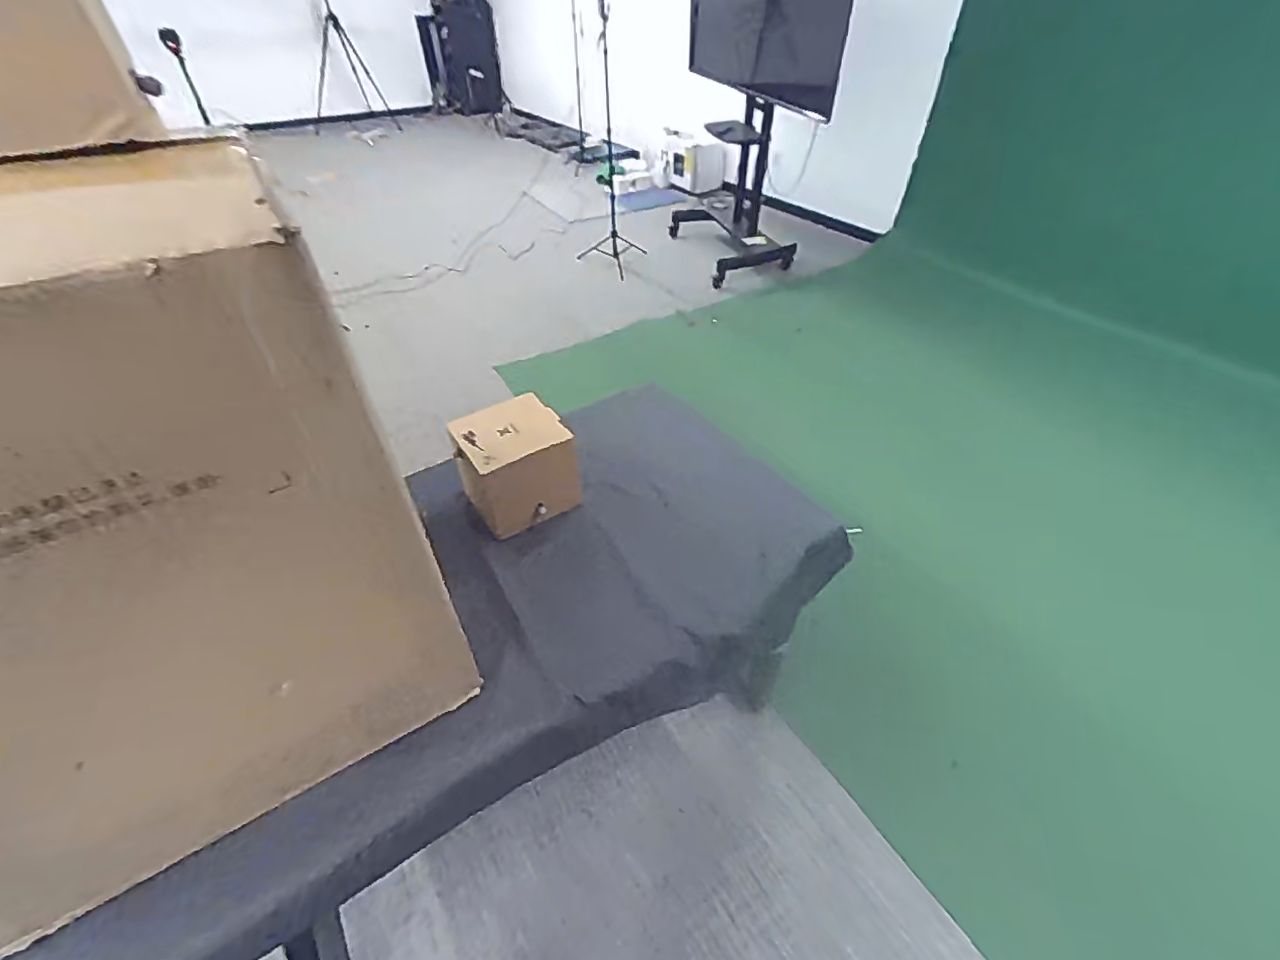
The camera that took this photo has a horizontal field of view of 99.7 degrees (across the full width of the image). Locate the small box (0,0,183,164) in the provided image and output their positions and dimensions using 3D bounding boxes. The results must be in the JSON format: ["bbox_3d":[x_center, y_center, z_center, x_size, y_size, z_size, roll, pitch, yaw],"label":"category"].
[{"bbox_3d":[-0.485,-0.334,0.395,0.179,0.176,0.168,-23,43,-25],"label":"small box"}]

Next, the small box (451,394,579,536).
[{"bbox_3d":[-0.227,-0.029,1.009,0.179,0.176,0.168,-25,49,-25],"label":"small box"}]
